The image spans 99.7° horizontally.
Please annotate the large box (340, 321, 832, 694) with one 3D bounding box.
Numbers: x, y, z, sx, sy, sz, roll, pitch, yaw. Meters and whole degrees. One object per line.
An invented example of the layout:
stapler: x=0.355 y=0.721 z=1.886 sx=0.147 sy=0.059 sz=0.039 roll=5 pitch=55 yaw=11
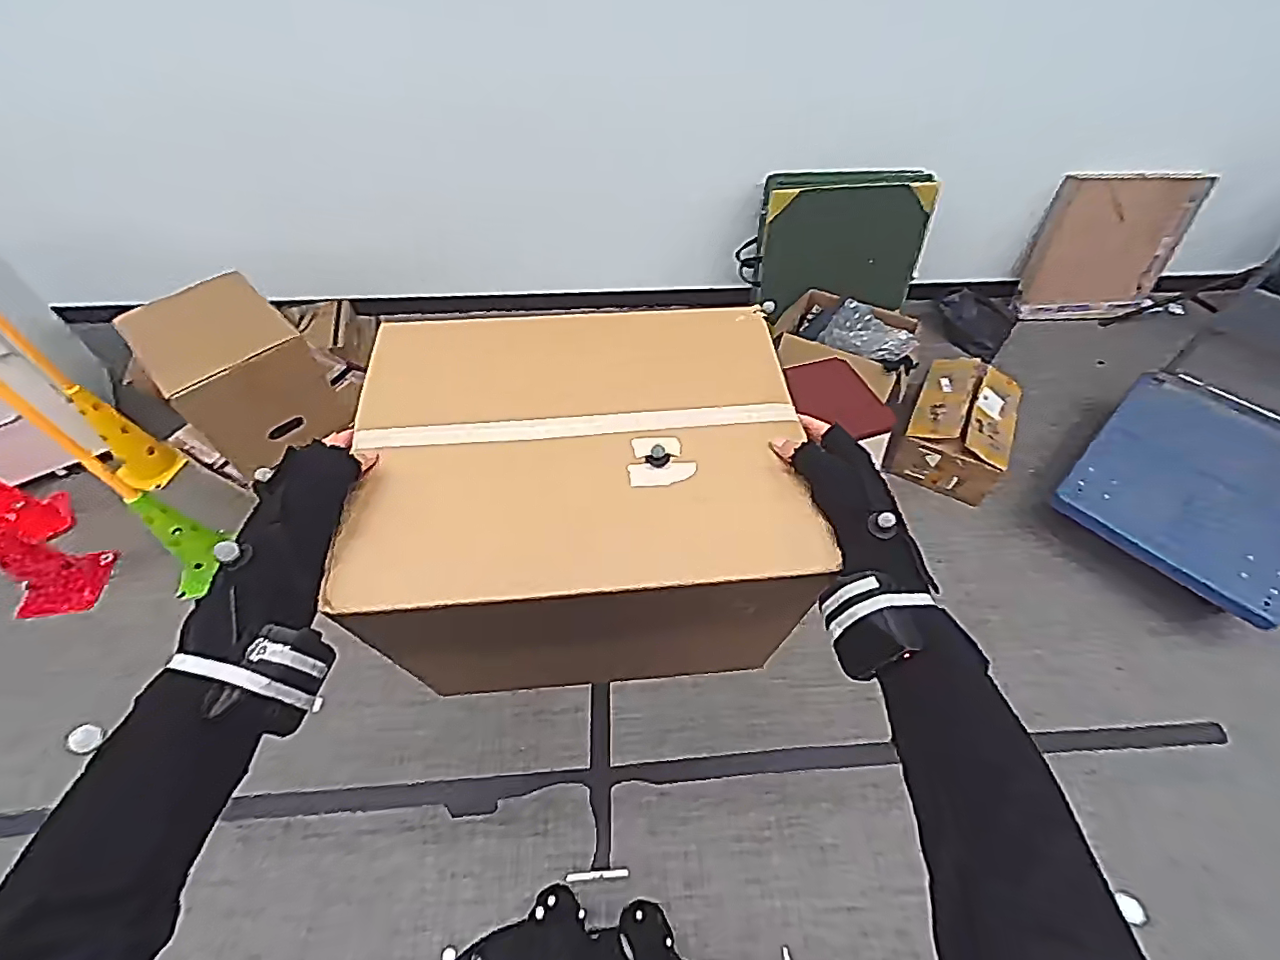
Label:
large box: x=-0.056 y=0.042 z=0.635 sx=0.408 sy=0.320 sz=0.320 roll=-3 pitch=57 yaw=-4
